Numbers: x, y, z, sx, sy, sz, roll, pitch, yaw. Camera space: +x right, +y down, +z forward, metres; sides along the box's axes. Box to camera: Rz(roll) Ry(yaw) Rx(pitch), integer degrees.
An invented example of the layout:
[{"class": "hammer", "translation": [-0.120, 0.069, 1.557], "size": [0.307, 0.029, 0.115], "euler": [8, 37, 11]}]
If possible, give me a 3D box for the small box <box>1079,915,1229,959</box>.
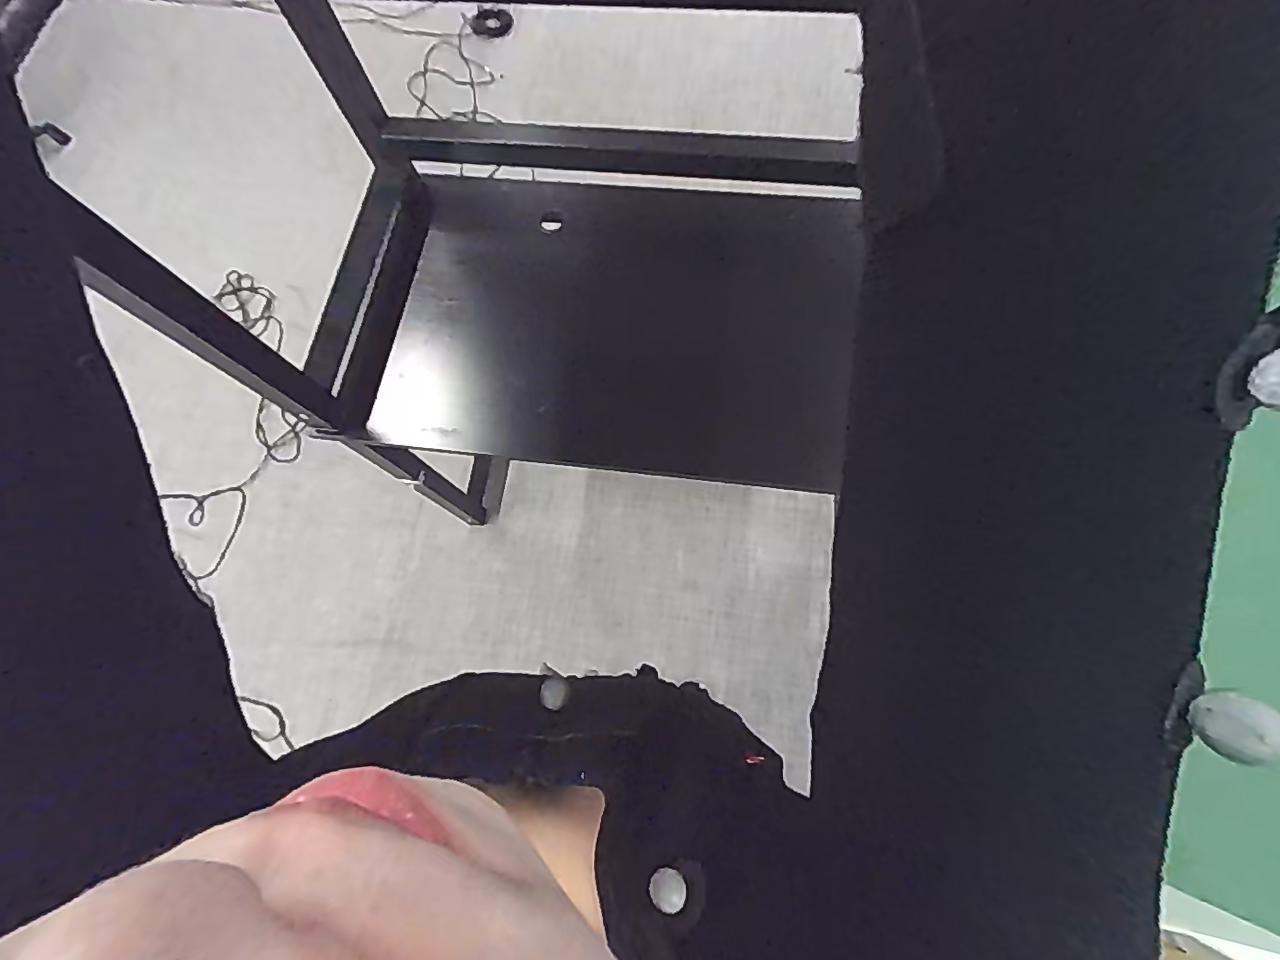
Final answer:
[{"class": "small box", "translation": [0.685, 0.686, 0.667], "size": [0.168, 0.176, 0.179], "euler": [9, 73, 7]}]
